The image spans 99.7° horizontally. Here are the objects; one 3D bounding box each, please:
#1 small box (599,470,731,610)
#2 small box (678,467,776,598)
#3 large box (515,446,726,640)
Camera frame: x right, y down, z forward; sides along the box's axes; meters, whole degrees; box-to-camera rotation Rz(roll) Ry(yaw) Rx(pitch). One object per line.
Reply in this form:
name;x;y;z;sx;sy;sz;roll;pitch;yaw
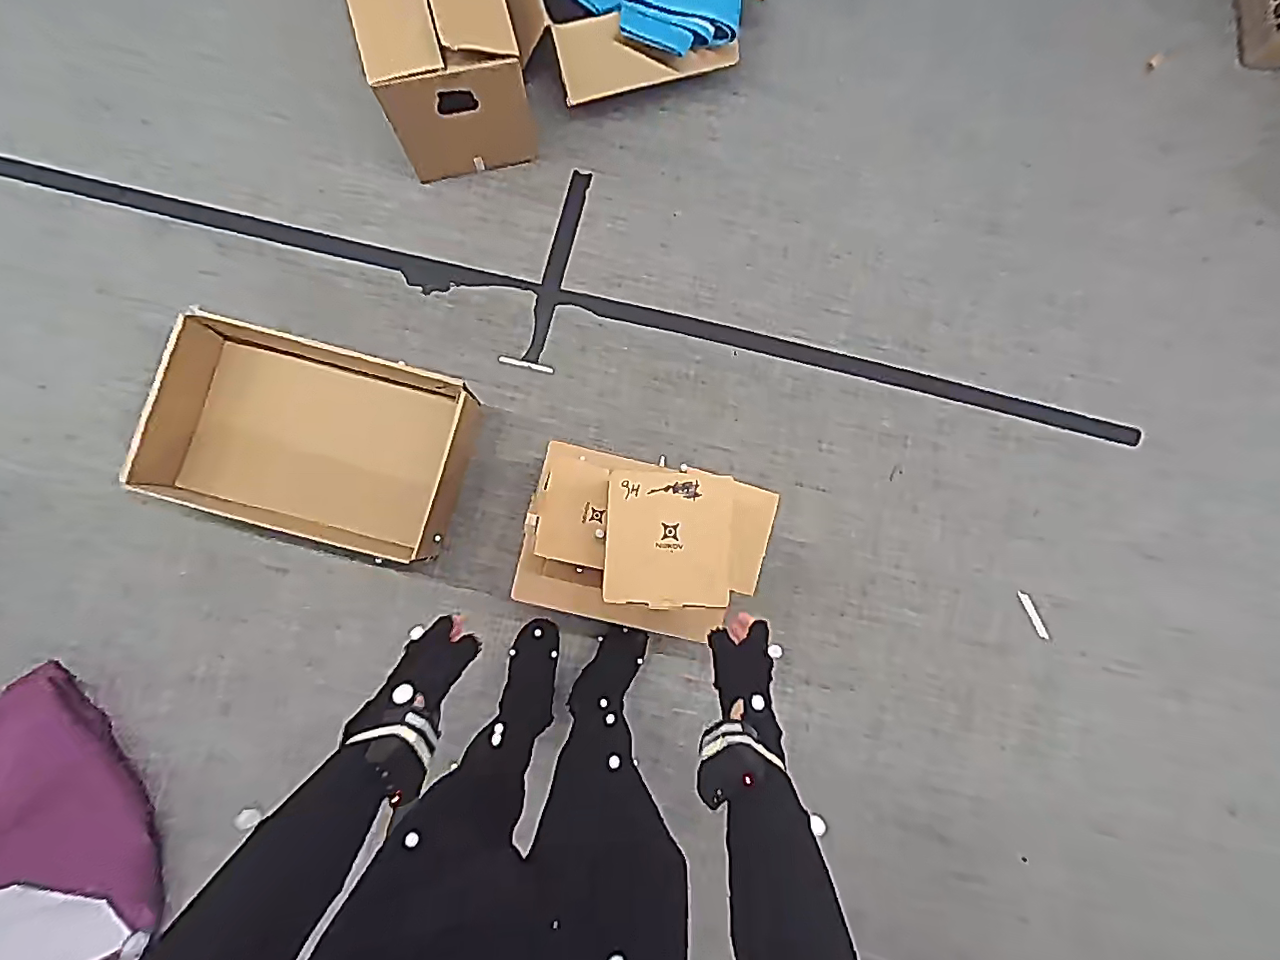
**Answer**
small box;0.031;0.084;0.787;0.168;0.176;0.179;4;85;-3
small box;0.118;0.093;0.956;0.168;0.176;0.179;17;82;-2
large box;-0.027;0.134;1.187;0.408;0.320;0.320;13;84;-4
